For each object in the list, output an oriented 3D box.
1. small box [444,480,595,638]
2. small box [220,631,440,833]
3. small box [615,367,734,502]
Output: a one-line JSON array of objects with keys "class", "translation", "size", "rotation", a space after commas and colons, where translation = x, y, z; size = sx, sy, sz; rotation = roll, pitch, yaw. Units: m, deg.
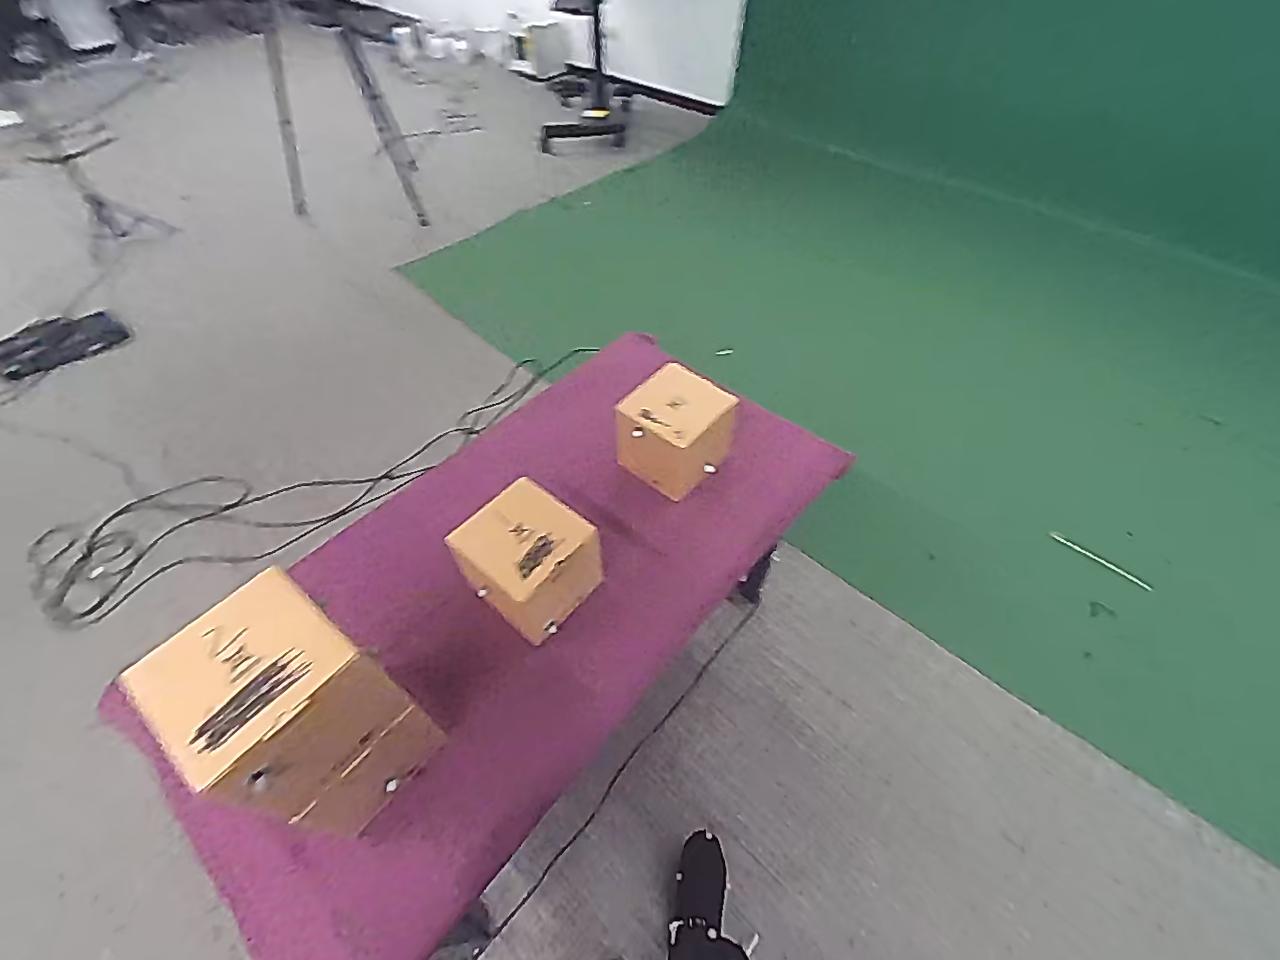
[{"class": "small box", "translation": [-0.191, 0.140, 0.911], "size": [0.179, 0.176, 0.168], "rotation": [33, 58, 24]}, {"class": "small box", "translation": [-0.410, 0.349, 0.741], "size": [0.179, 0.176, 0.168], "rotation": [32, 58, 23]}, {"class": "small box", "translation": [0.065, -0.091, 1.096], "size": [0.168, 0.176, 0.179], "rotation": [34, 59, 25]}]
